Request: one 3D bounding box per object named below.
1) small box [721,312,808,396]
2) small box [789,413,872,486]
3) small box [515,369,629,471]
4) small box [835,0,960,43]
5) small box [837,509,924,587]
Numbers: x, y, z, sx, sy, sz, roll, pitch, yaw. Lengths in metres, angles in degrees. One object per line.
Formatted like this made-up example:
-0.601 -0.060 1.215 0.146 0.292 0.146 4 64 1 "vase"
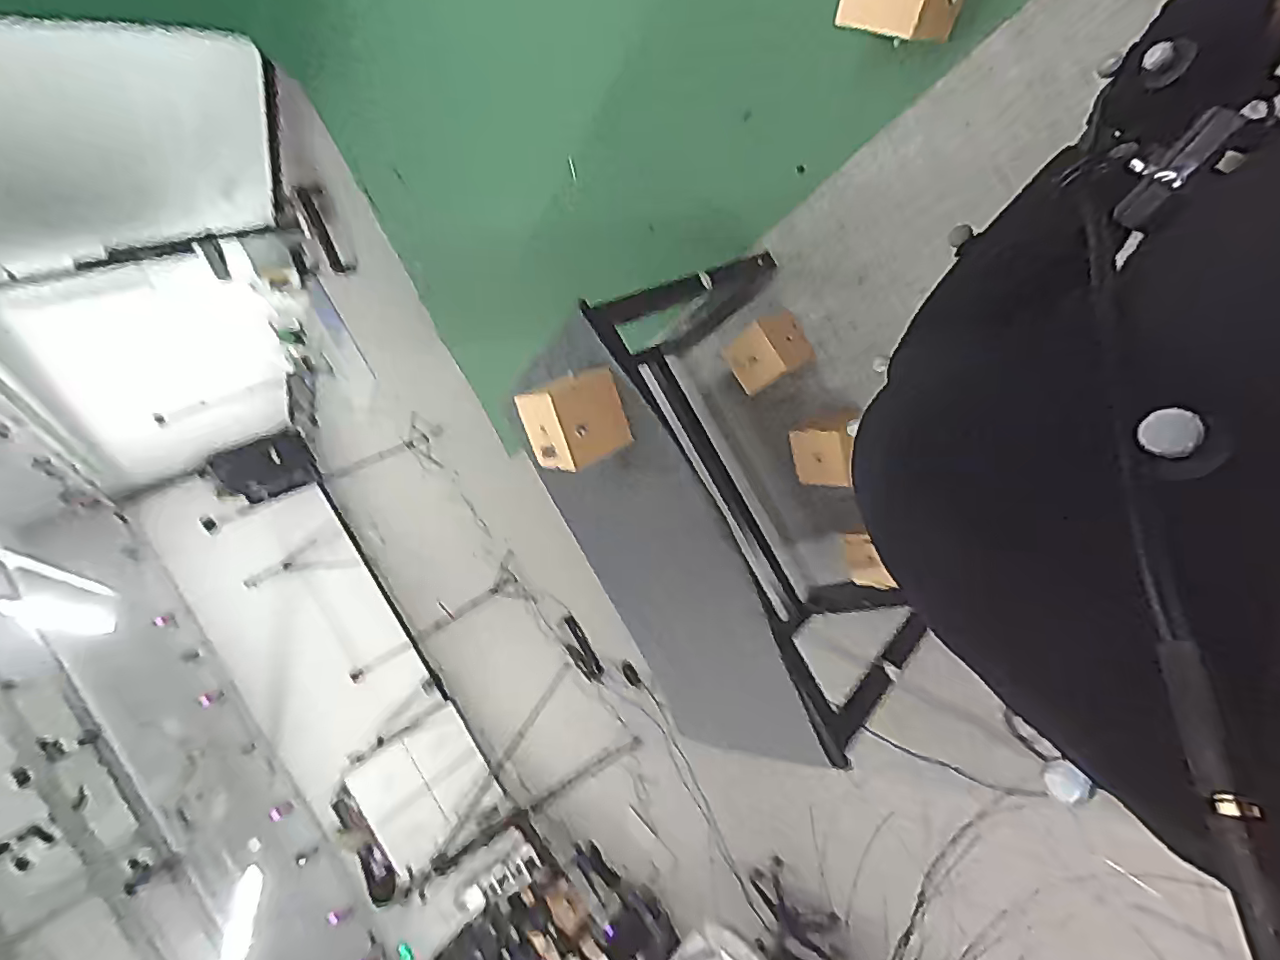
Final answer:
0.390 -0.391 1.661 0.168 0.176 0.179 58 144 3 "small box"
0.581 -0.099 1.642 0.168 0.176 0.179 5 120 50 "small box"
-0.149 -0.138 1.230 0.168 0.176 0.179 7 121 51 "small box"
0.529 -0.987 1.071 0.179 0.176 0.168 38 139 26 "small box"
0.745 0.206 1.663 0.168 0.176 0.179 -8 110 52 "small box"
